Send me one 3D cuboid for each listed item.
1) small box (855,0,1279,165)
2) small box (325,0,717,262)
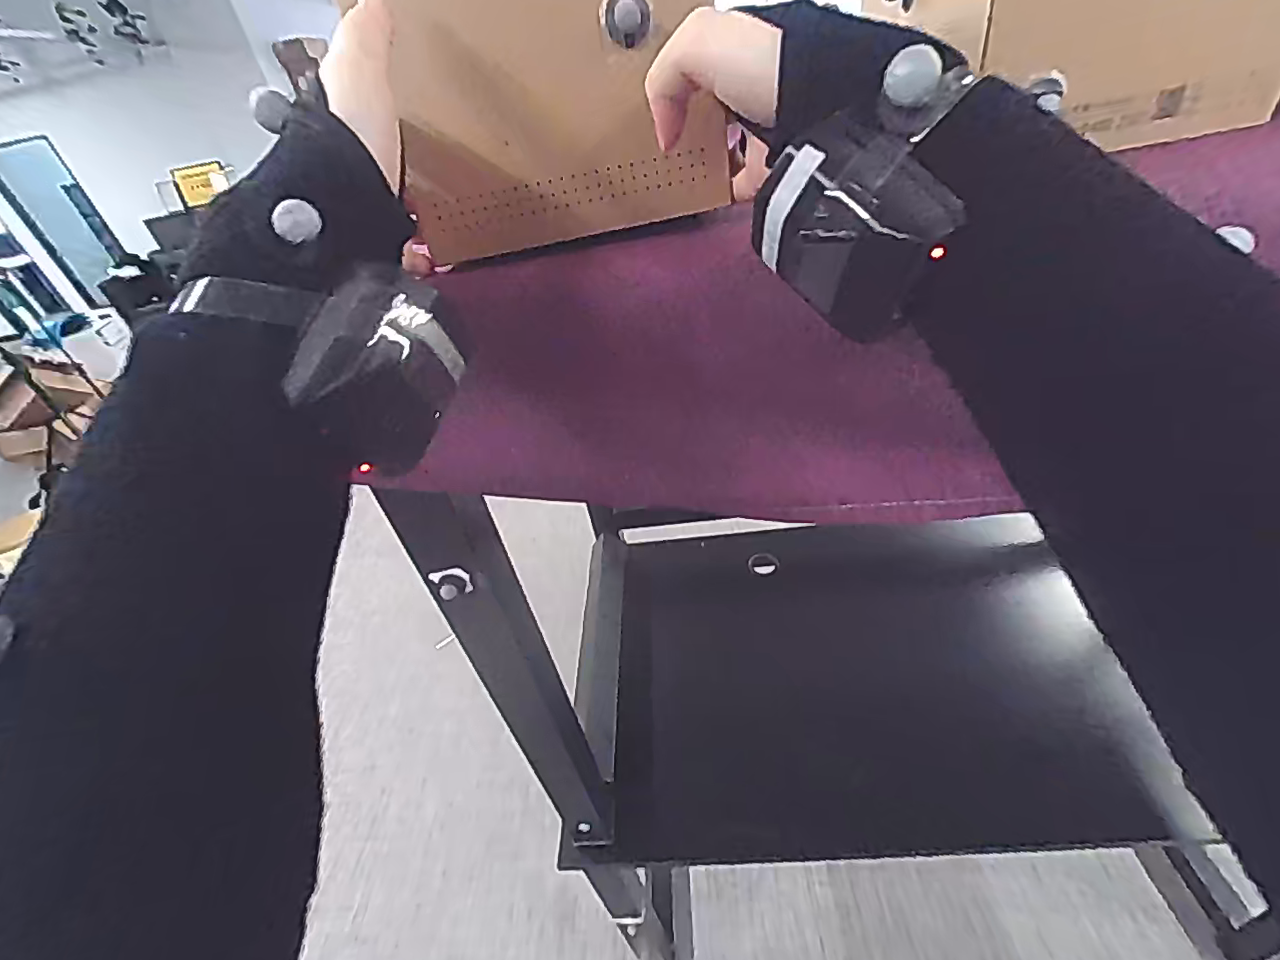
[{"bbox_3d":[0.240,-0.296,0.315,0.168,0.176,0.179,-9,35,3],"label":"small box"},{"bbox_3d":[-0.054,-0.245,0.319,0.179,0.176,0.168,-11,33,3],"label":"small box"}]
